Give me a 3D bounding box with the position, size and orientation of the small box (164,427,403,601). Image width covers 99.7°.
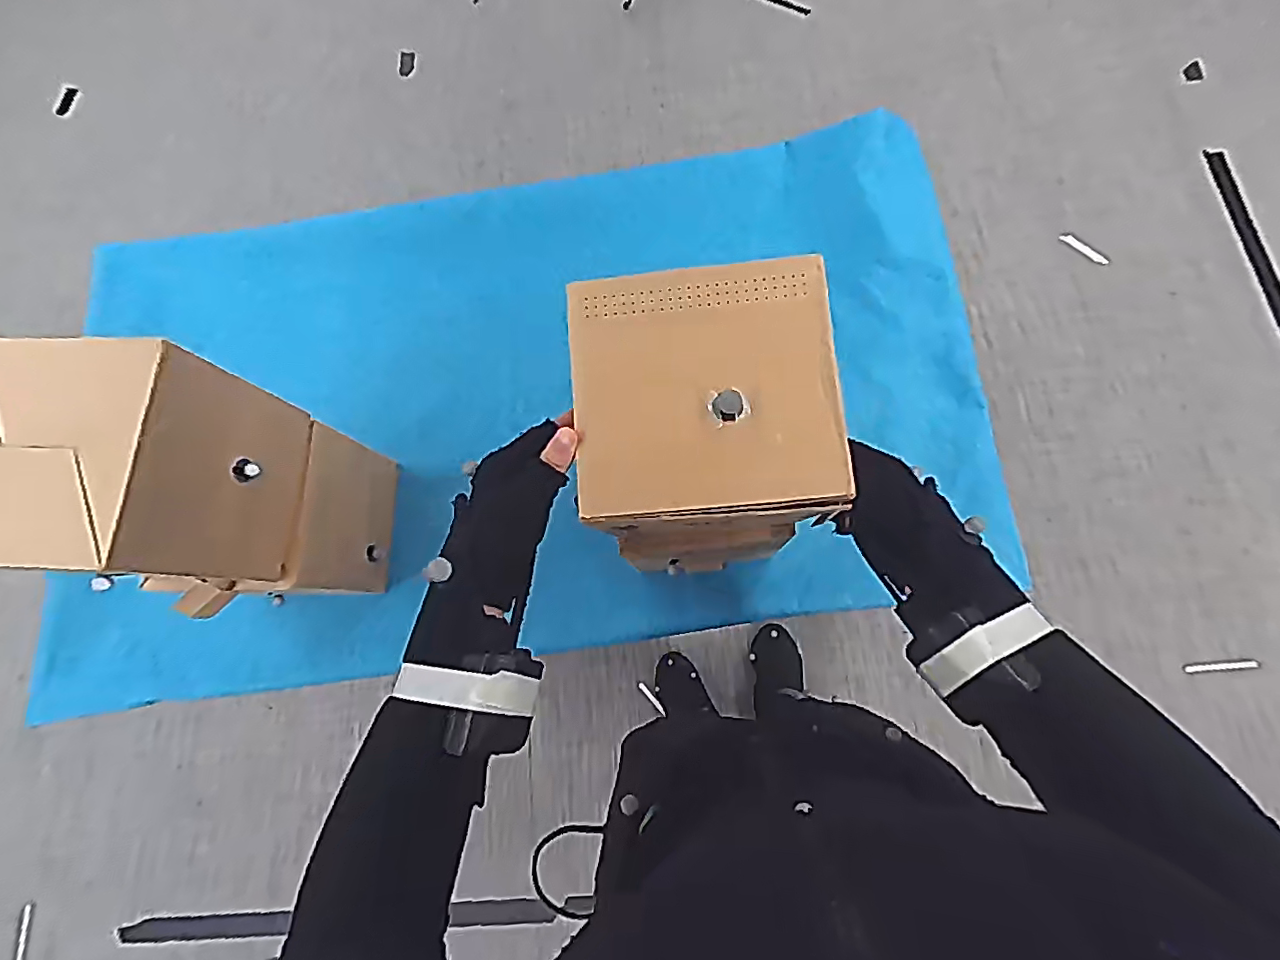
[{"bbox_3d":[-0.405,0.048,0.634,0.168,0.176,0.179,-2,76,4],"label":"small box"}]

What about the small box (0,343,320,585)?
[{"bbox_3d":[-0.428,-0.002,0.478,0.168,0.176,0.179,1,78,5],"label":"small box"}]

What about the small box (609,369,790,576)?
[{"bbox_3d":[0.062,0.002,0.602,0.168,0.176,0.179,-8,74,3],"label":"small box"}]
